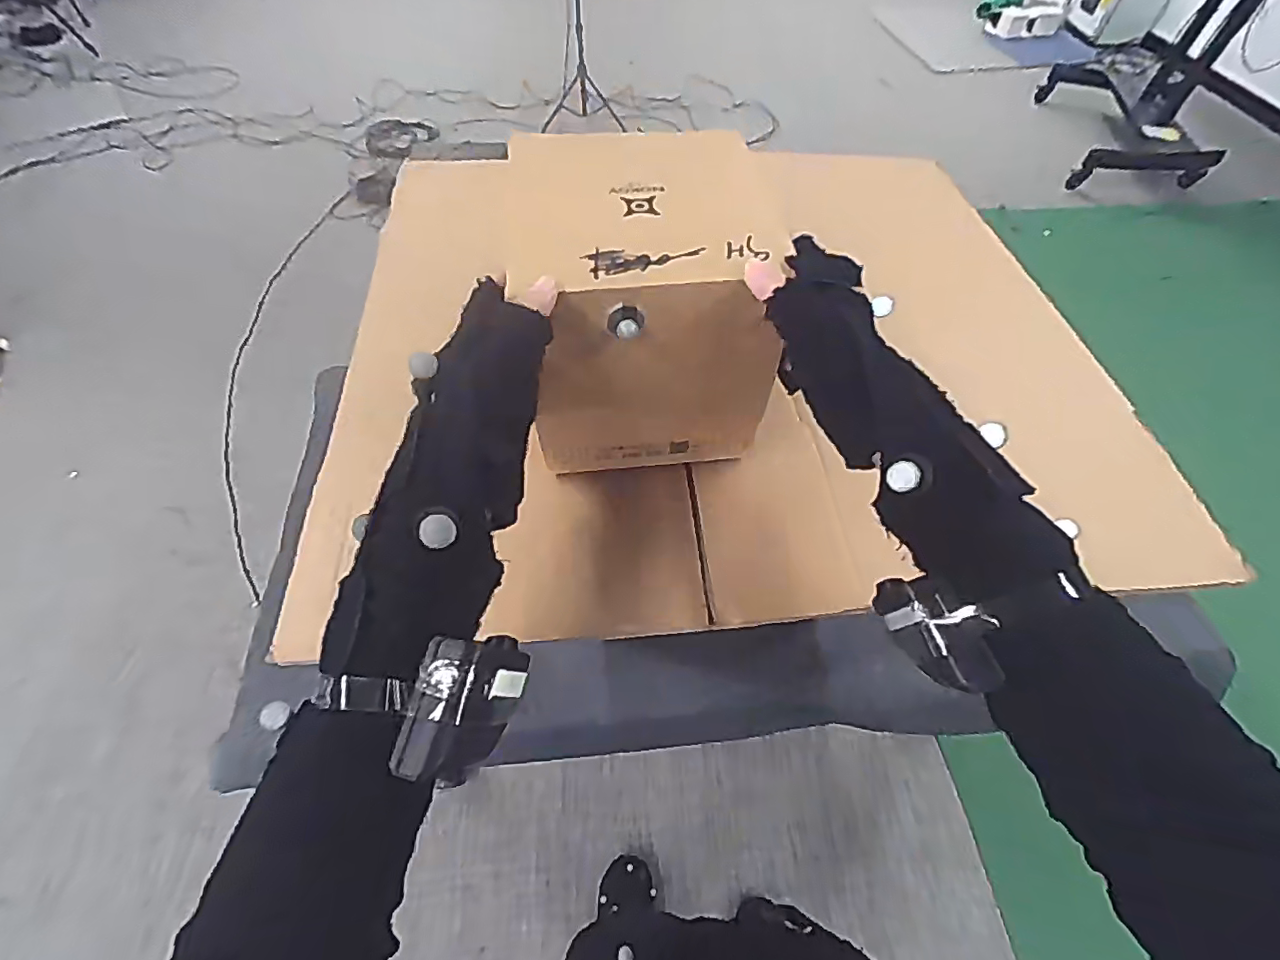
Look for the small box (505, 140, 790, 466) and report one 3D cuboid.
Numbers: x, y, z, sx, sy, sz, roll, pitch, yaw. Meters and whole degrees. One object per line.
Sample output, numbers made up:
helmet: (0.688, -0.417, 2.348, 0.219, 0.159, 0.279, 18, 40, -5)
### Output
small box: (-0.004, -0.133, 0.417, 0.168, 0.176, 0.179, -6, 55, -4)
